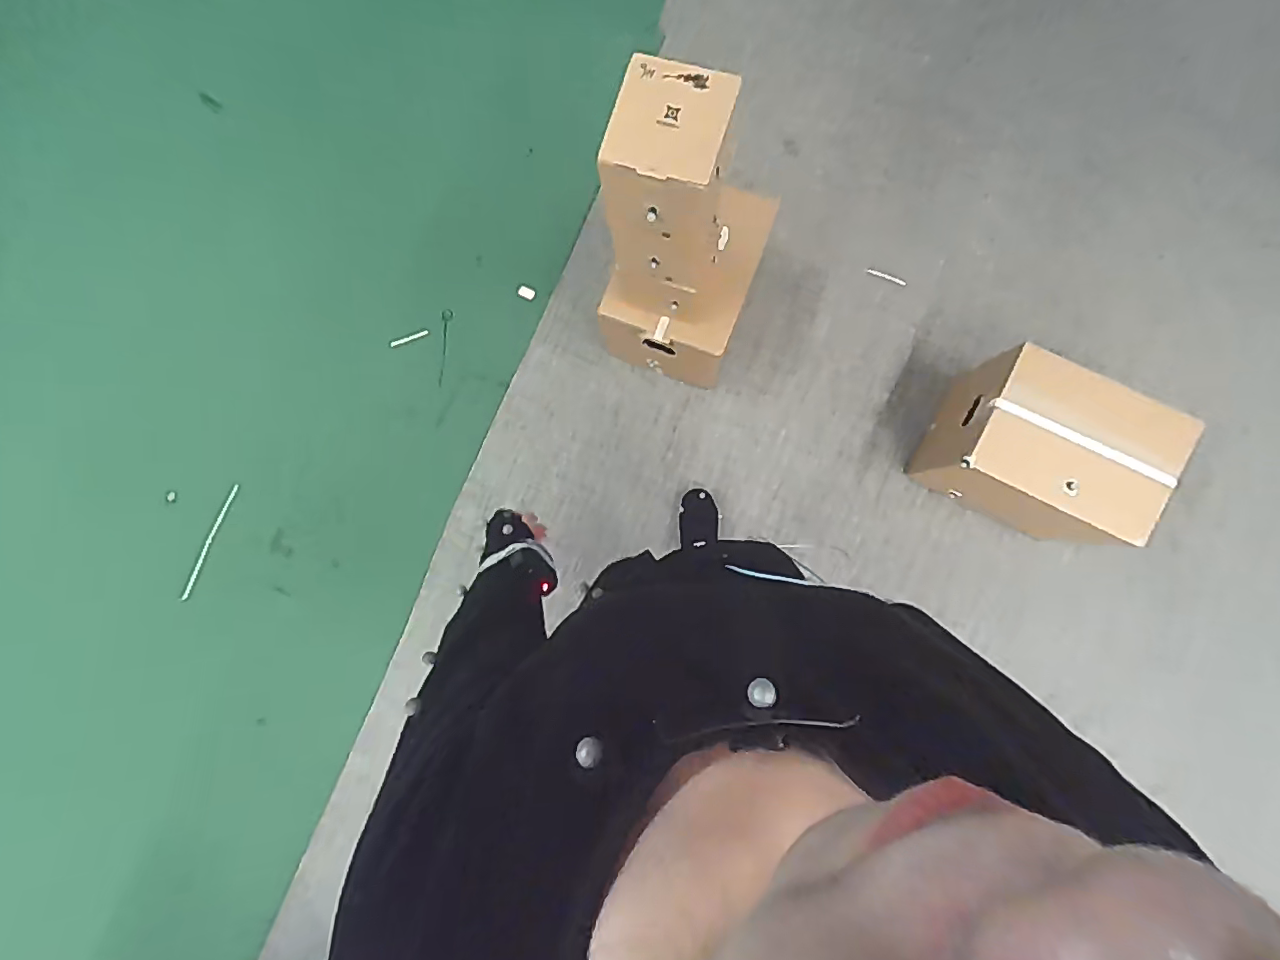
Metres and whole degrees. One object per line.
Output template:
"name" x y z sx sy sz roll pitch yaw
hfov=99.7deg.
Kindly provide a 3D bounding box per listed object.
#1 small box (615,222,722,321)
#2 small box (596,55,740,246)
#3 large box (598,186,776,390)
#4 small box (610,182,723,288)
"small box" 0.063 -0.465 1.171 0.179 0.176 0.168 20 86 6
"small box" 0.045 -0.499 0.845 0.168 0.176 0.179 18 86 5
"large box" 0.121 -0.502 1.416 0.320 0.320 0.408 21 86 5
"small box" 0.055 -0.486 1.009 0.168 0.176 0.179 16 85 5
